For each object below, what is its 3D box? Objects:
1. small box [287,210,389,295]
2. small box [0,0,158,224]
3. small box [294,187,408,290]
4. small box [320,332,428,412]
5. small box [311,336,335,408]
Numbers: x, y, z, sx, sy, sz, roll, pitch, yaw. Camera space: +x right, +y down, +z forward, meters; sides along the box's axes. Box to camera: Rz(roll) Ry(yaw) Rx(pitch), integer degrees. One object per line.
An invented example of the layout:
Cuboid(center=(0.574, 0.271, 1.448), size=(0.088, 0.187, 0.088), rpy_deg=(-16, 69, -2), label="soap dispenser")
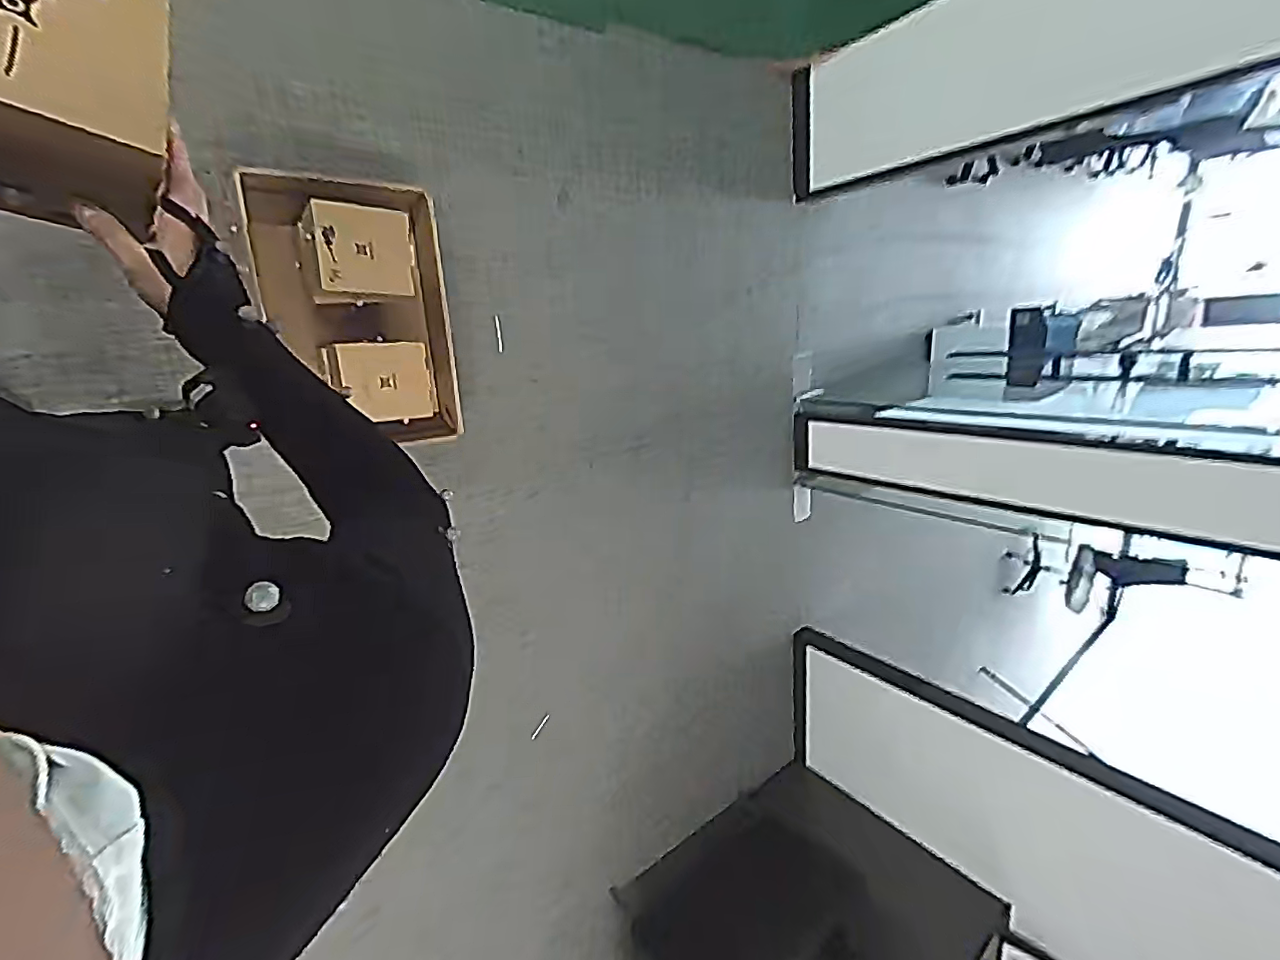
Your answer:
Cuboid(center=(-0.713, -0.526, 1.272), size=(0.179, 0.176, 0.168), rpy_deg=(-15, 112, -35), label="small box")
Cuboid(center=(-0.506, -0.347, 0.434), size=(0.168, 0.176, 0.179), rpy_deg=(0, 83, -46), label="small box")
Cuboid(center=(-0.611, -0.499, 1.145), size=(0.179, 0.176, 0.168), rpy_deg=(-10, 107, -37), label="small box")
Cuboid(center=(-0.601, -0.247, 1.219), size=(0.179, 0.176, 0.168), rpy_deg=(-12, 106, -35), label="small box")
Cuboid(center=(-0.703, -0.274, 1.344), size=(0.179, 0.176, 0.168), rpy_deg=(-15, 110, -35), label="small box")
